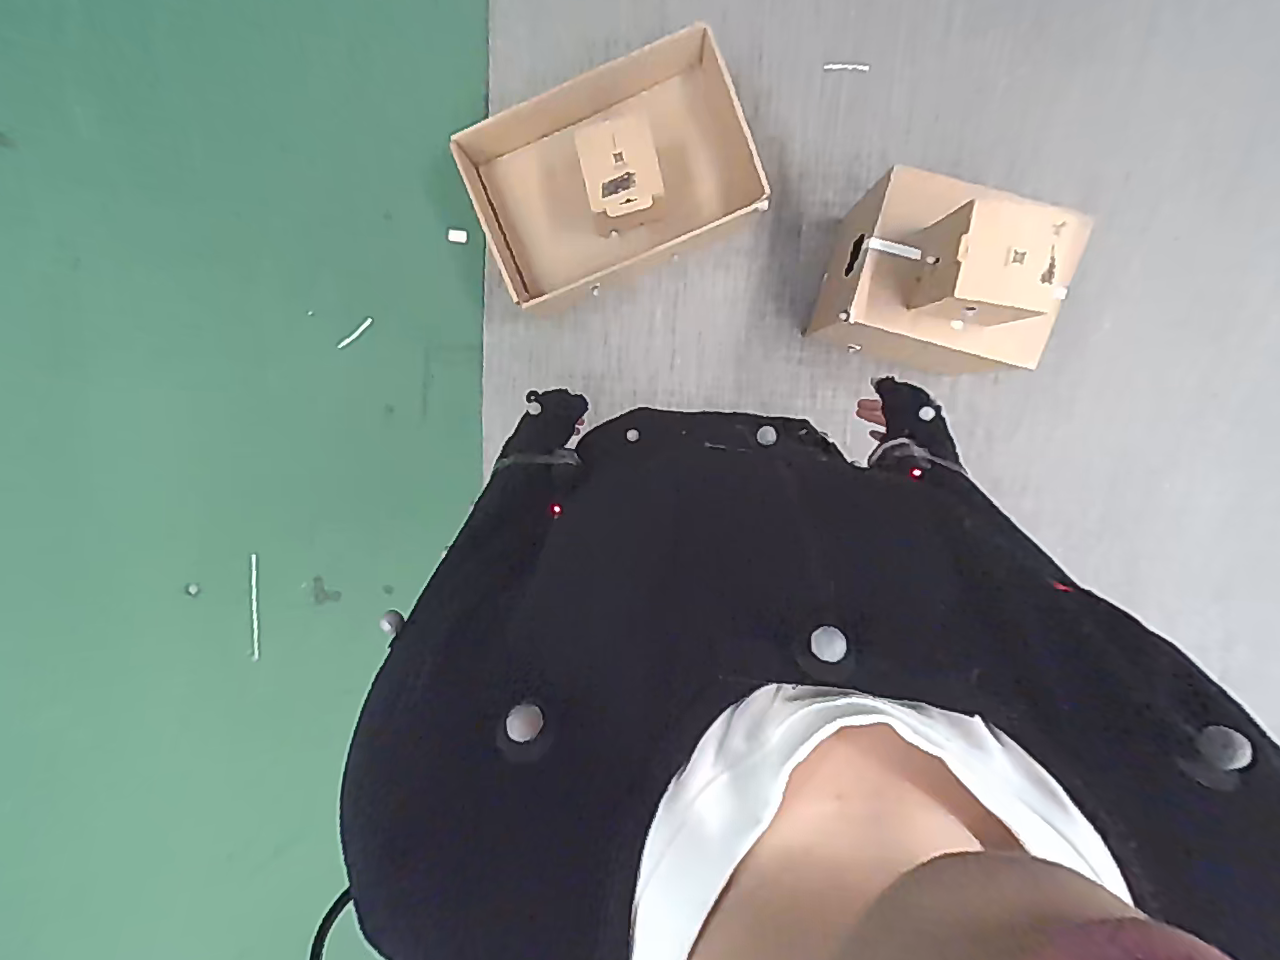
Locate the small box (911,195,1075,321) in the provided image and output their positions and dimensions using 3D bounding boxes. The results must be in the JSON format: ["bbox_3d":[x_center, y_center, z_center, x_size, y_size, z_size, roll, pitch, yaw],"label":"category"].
[{"bbox_3d":[0.631,-0.395,0.992,0.179,0.176,0.168,9,99,1],"label":"small box"}]

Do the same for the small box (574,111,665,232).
[{"bbox_3d":[-0.038,-0.692,1.241,0.168,0.176,0.179,-13,96,5],"label":"small box"}]
